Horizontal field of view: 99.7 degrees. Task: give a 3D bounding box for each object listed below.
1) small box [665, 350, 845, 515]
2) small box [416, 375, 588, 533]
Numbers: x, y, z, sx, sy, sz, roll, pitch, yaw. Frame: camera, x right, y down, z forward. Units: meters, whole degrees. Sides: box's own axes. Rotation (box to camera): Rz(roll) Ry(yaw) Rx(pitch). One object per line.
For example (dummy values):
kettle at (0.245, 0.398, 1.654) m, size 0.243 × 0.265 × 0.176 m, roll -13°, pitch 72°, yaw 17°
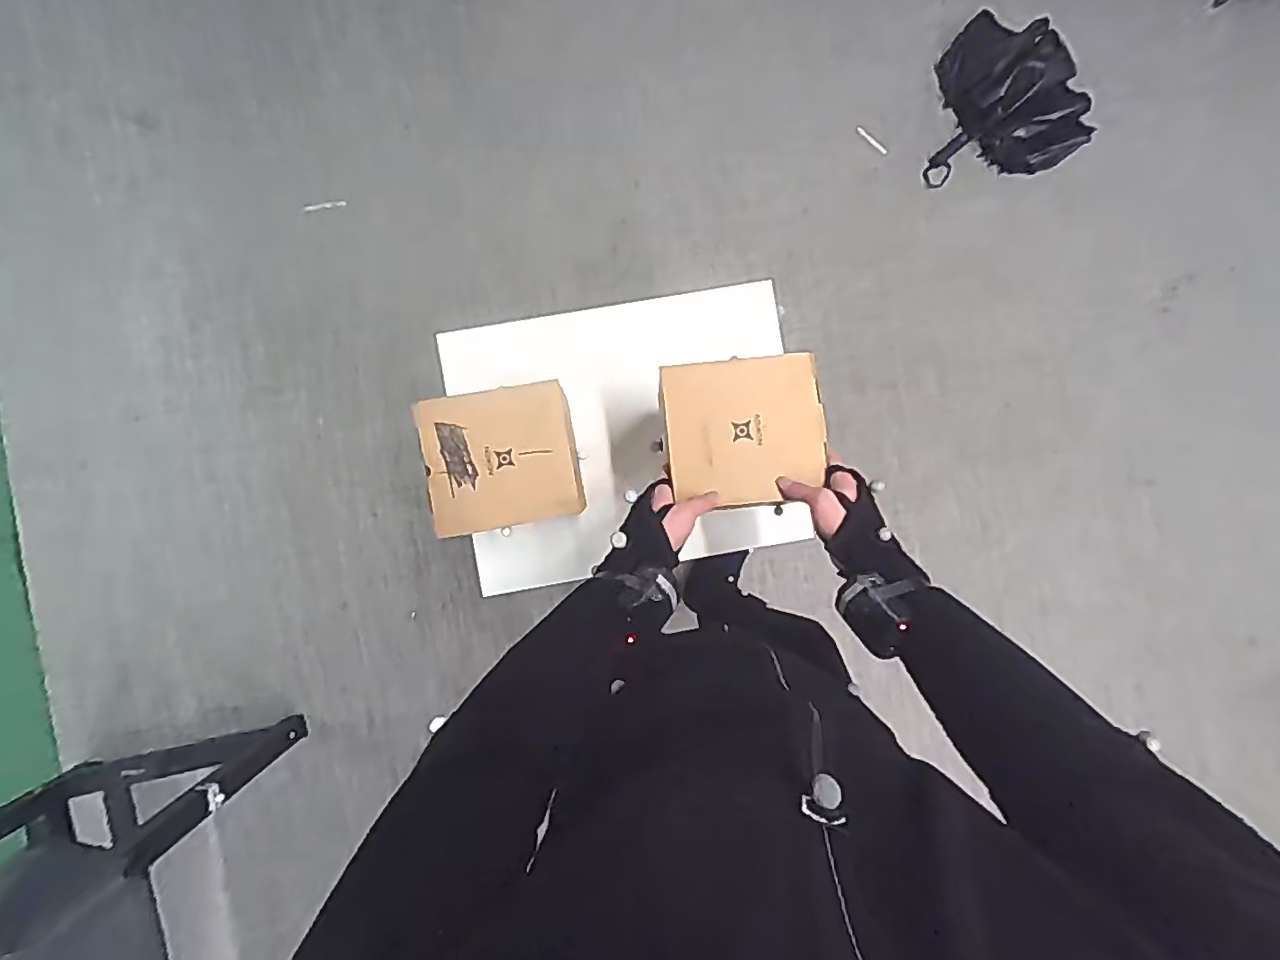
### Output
small box at (0.128, -0.047, 0.666) m, size 0.179 × 0.176 × 0.168 m, roll -7°, pitch 84°, yaw 1°
small box at (-0.165, -0.030, 0.703) m, size 0.179 × 0.176 × 0.168 m, roll -9°, pitch 92°, yaw -5°
